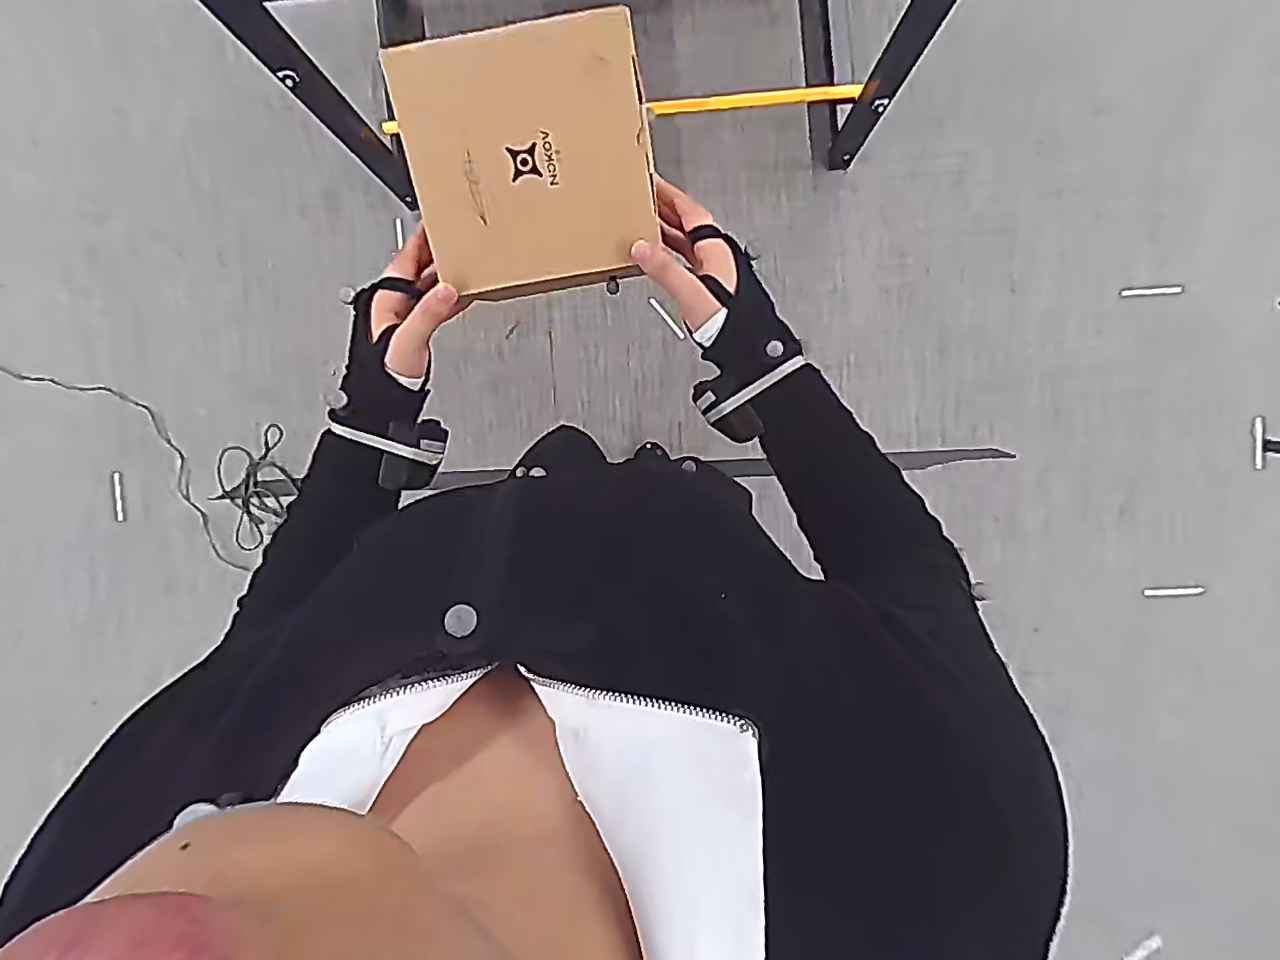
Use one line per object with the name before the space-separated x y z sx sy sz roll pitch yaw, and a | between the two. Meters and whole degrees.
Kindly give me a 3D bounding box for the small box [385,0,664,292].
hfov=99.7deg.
small box | -0.082 -0.265 0.472 0.179 0.176 0.168 -10 106 2
